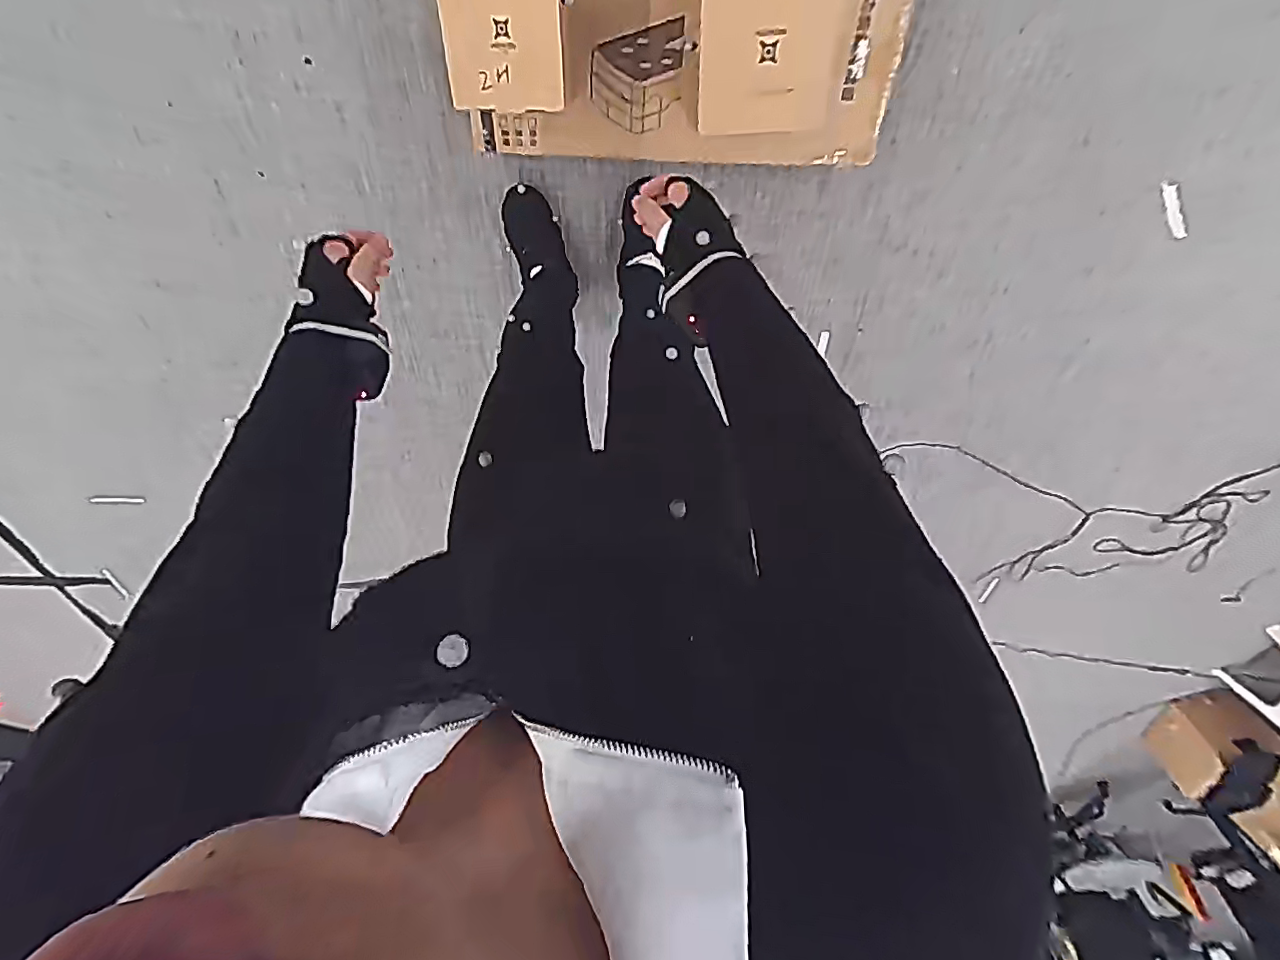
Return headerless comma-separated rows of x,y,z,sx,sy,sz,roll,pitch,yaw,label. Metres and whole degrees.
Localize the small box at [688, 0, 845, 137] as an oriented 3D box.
0.151,-0.564,0.703,0.168,0.176,0.179,-3,131,1,small box
